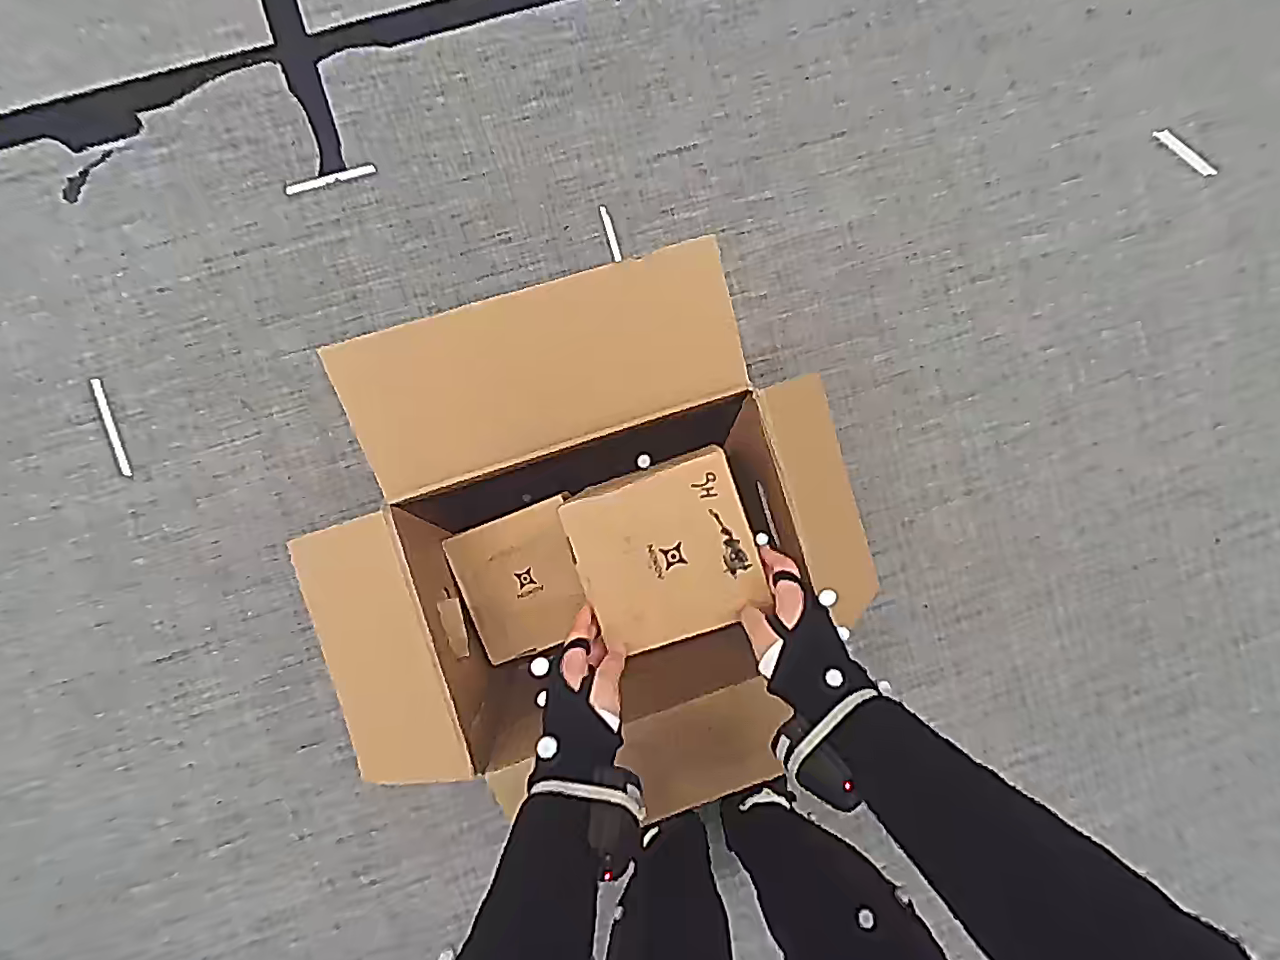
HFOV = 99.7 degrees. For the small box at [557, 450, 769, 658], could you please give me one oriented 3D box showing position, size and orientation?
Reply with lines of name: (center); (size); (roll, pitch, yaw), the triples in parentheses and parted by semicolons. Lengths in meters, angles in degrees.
small box: (0.031, 0.071, 0.613); (0.179, 0.176, 0.168); (-19, 95, 8)
